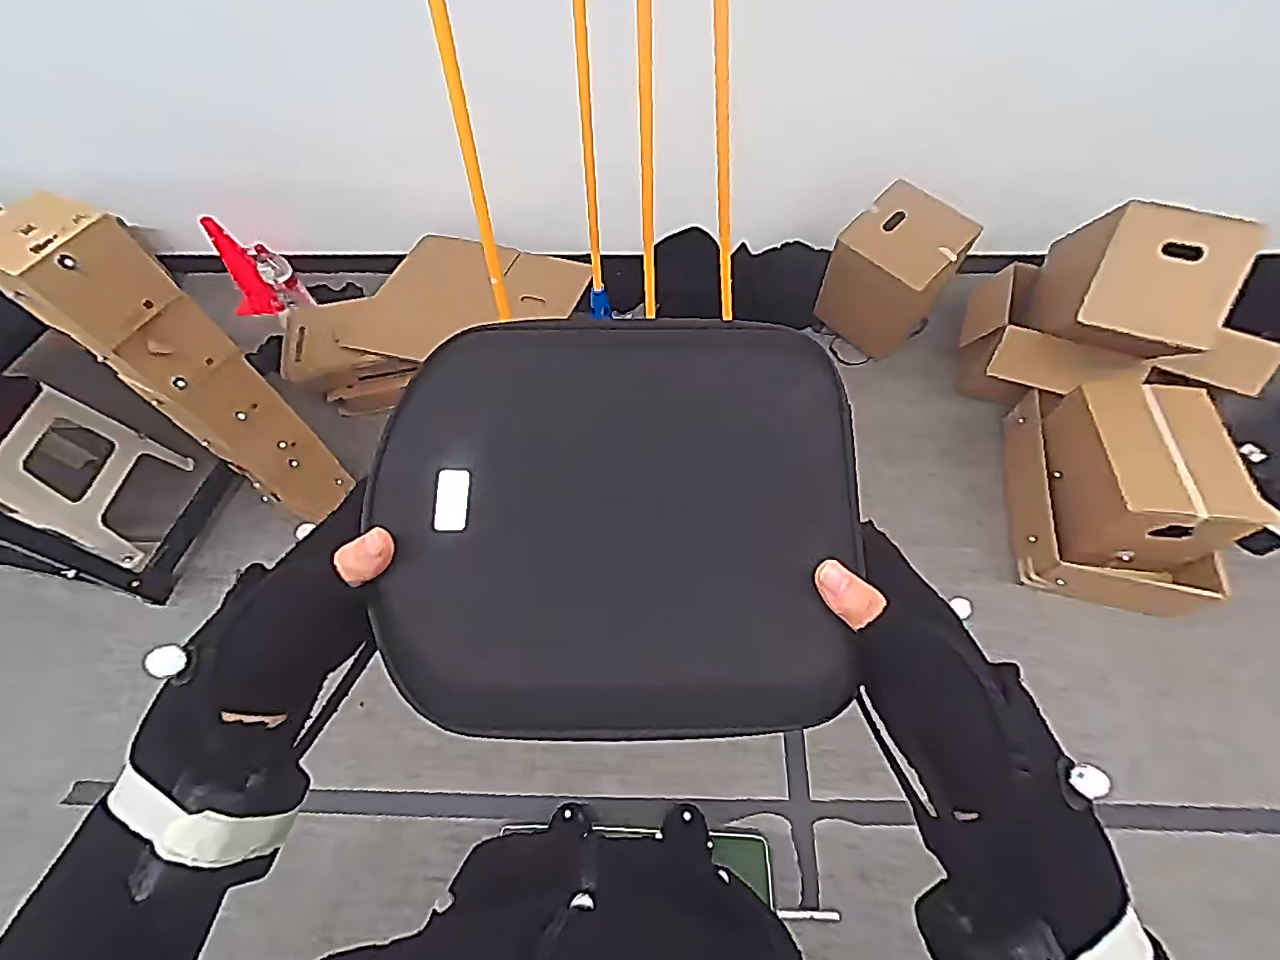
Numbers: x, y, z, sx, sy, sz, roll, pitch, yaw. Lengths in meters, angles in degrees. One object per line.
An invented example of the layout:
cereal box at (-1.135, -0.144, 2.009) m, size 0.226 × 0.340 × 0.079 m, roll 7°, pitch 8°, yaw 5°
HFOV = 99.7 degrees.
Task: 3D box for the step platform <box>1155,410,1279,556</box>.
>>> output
step platform at (1.962, -0.044, 1.635) m, size 0.684 × 0.204 × 0.286 m, roll -24°, pitch 63°, yaw -13°
